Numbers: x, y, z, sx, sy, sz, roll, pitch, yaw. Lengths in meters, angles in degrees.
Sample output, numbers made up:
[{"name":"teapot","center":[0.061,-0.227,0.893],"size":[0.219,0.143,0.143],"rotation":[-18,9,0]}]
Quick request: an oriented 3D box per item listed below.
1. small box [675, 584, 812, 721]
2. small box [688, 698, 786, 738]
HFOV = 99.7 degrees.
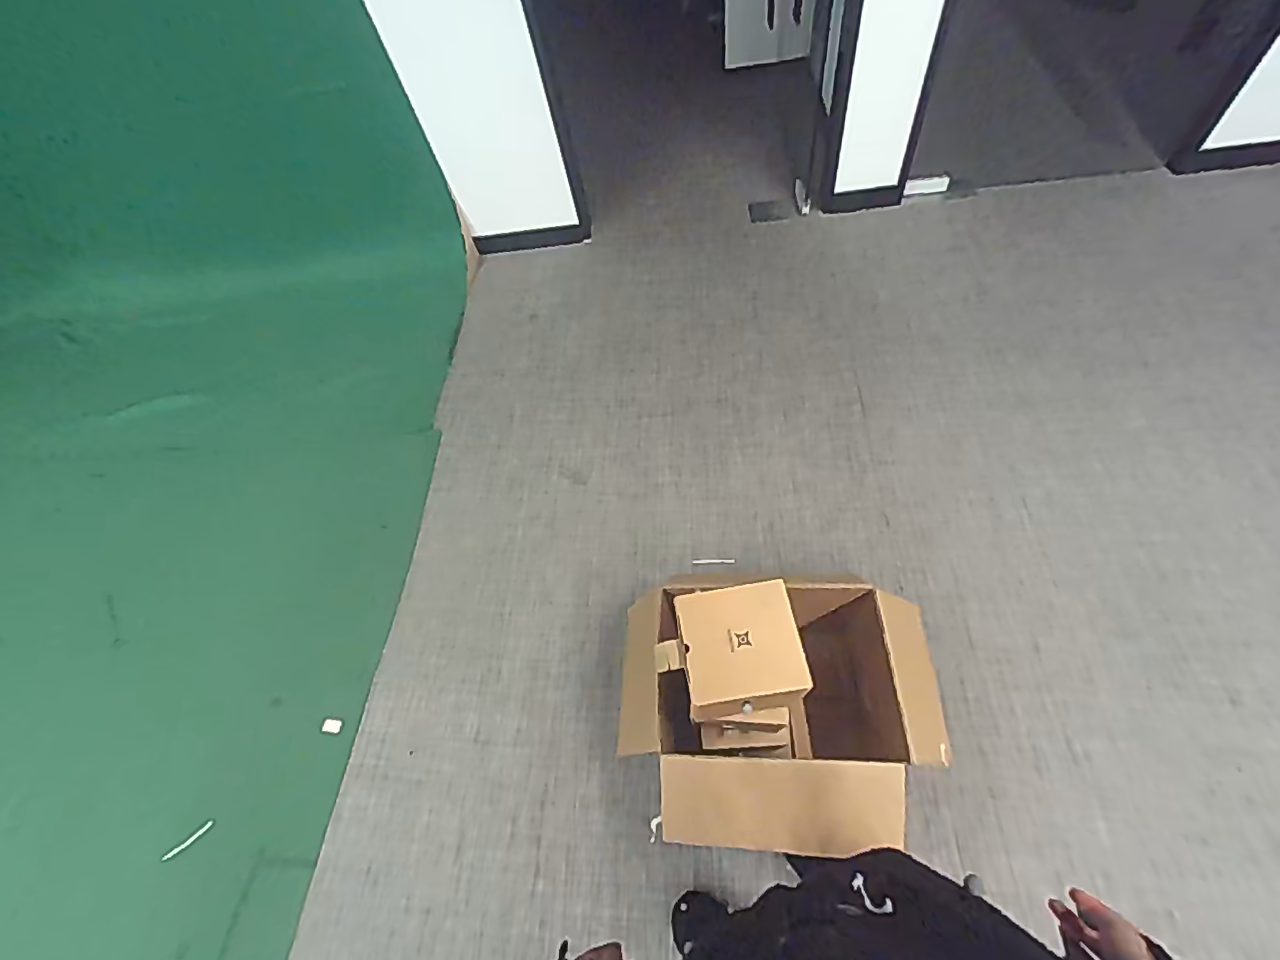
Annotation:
[{"name":"small box","center":[0.157,0.283,0.873],"size":[0.179,0.176,0.168],"rotation":[-10,59,2]},{"name":"small box","center":[0.176,0.373,1.008],"size":[0.168,0.176,0.179],"rotation":[2,61,8]}]
